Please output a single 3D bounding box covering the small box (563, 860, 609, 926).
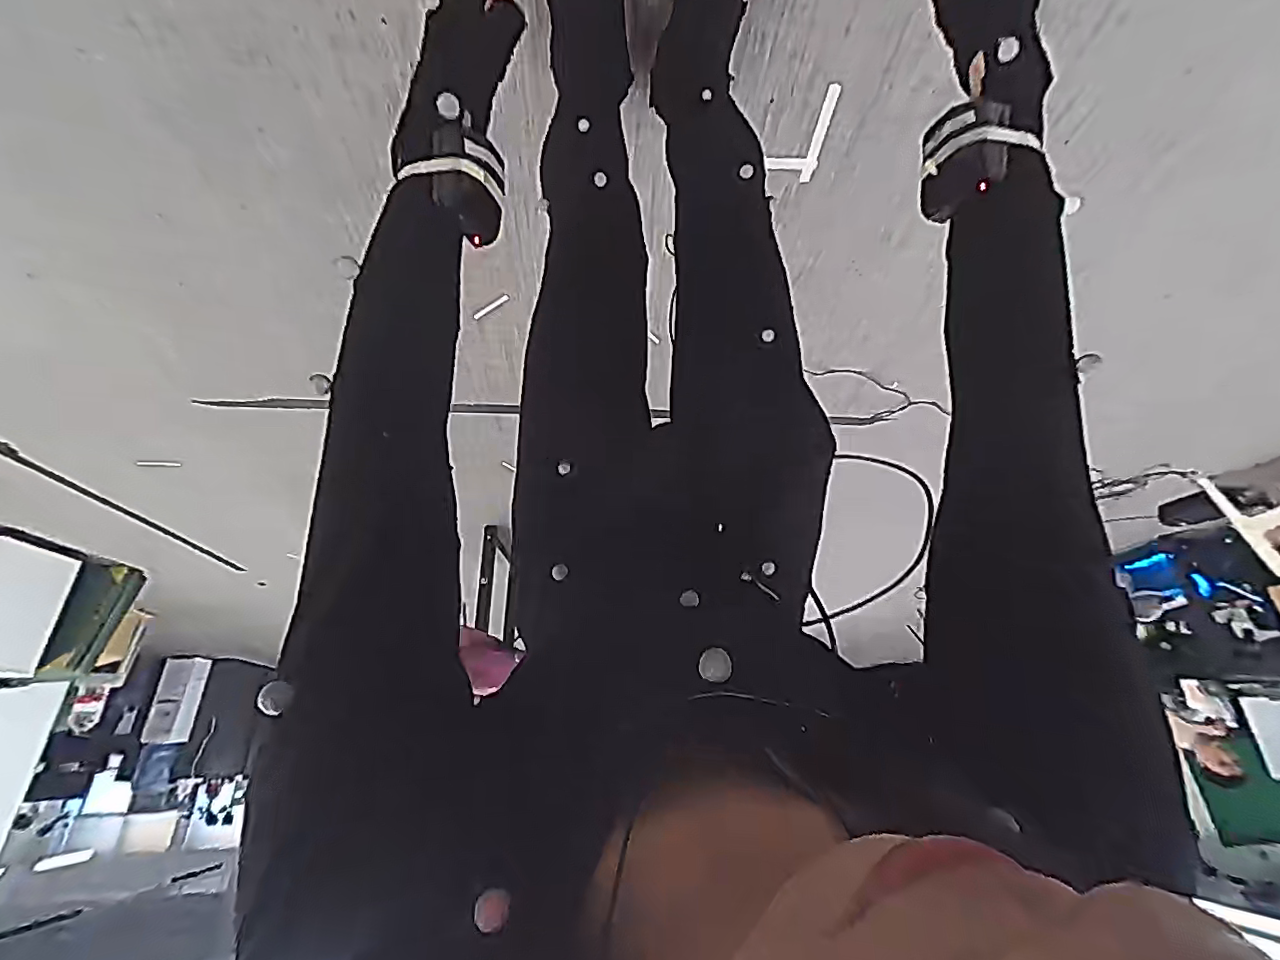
[{"bbox_3d":[-0.205,1.550,2.037,0.168,0.176,0.179,0,153,-7],"label":"small box"}]

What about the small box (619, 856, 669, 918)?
[{"bbox_3d":[0.012,1.574,2.098,0.179,0.176,0.168,1,154,-6],"label":"small box"}]
